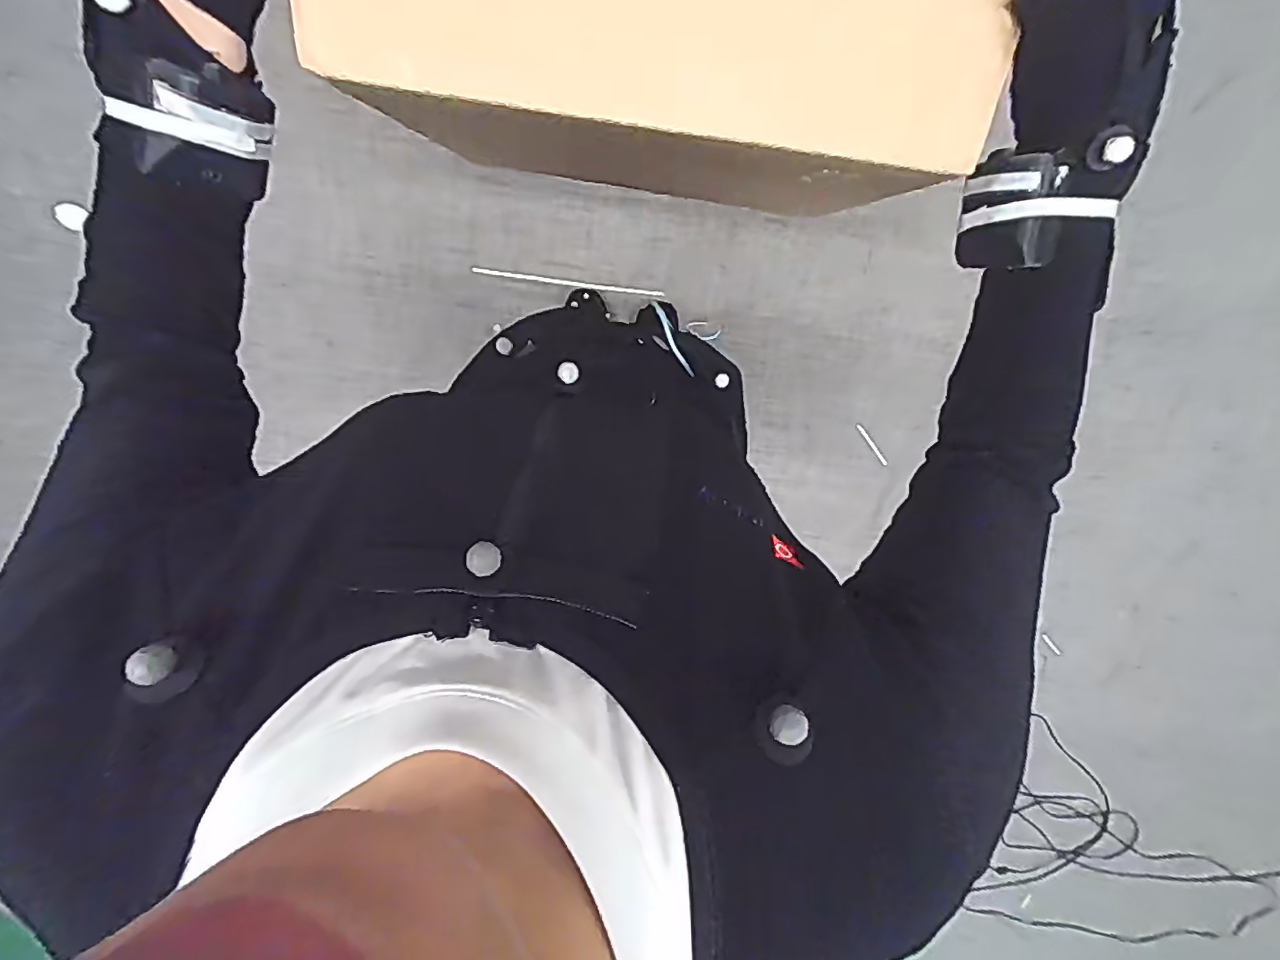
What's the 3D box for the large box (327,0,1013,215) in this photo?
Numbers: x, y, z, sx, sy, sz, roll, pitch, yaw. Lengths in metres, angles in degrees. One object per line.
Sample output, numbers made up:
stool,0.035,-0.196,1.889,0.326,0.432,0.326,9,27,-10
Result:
large box,0.028,-0.413,0.421,0.408,0.320,0.320,7,112,-2
